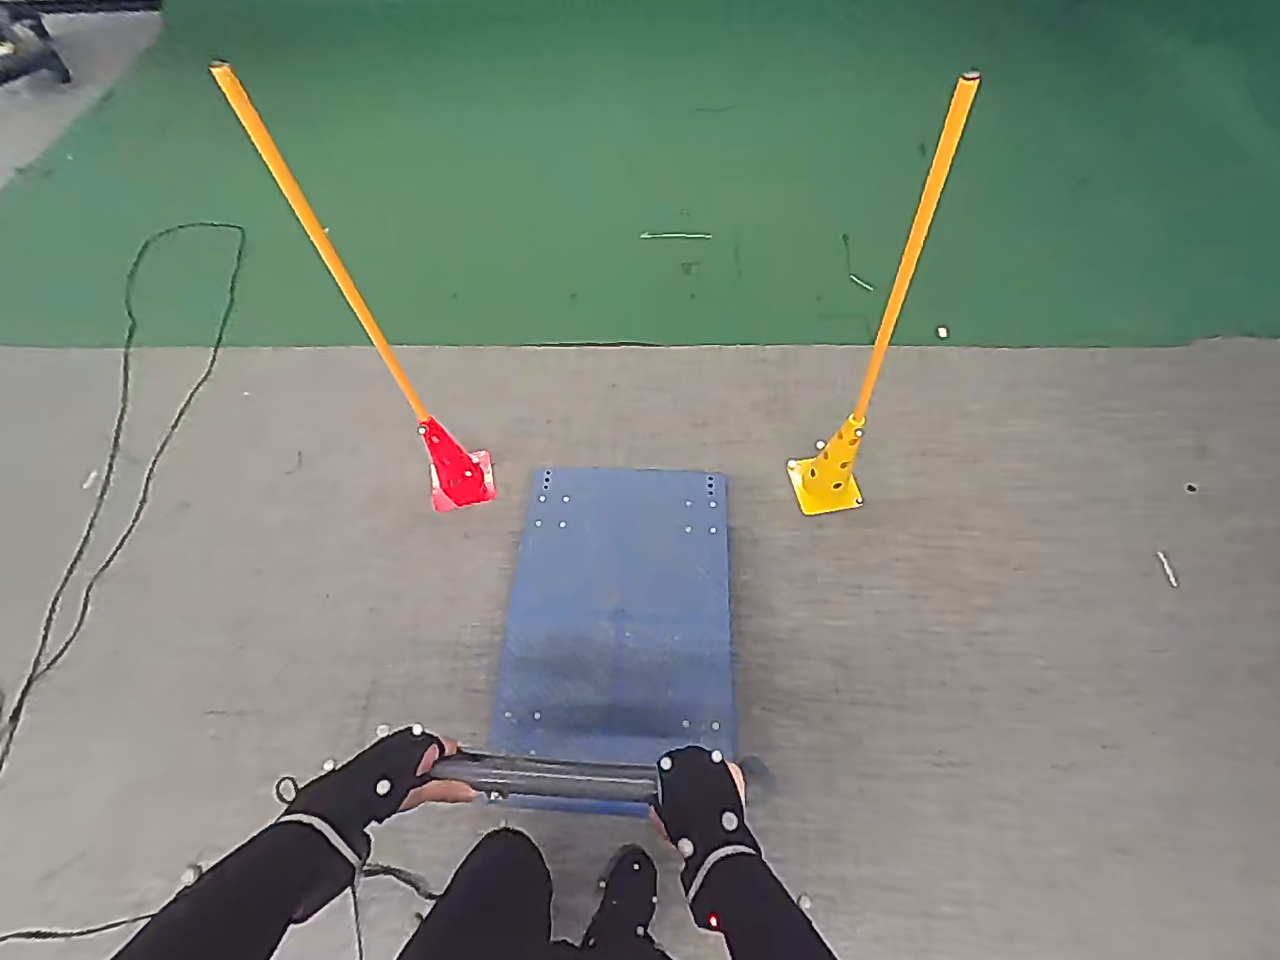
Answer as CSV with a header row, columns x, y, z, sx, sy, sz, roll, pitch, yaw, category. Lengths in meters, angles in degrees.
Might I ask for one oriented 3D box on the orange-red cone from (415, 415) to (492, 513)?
x,y,z,sx,sy,sz,roll,pitch,yaw,category
-0.597,-0.075,1.639,0.199,0.360,0.198,-12,60,-4,orange-red cone
